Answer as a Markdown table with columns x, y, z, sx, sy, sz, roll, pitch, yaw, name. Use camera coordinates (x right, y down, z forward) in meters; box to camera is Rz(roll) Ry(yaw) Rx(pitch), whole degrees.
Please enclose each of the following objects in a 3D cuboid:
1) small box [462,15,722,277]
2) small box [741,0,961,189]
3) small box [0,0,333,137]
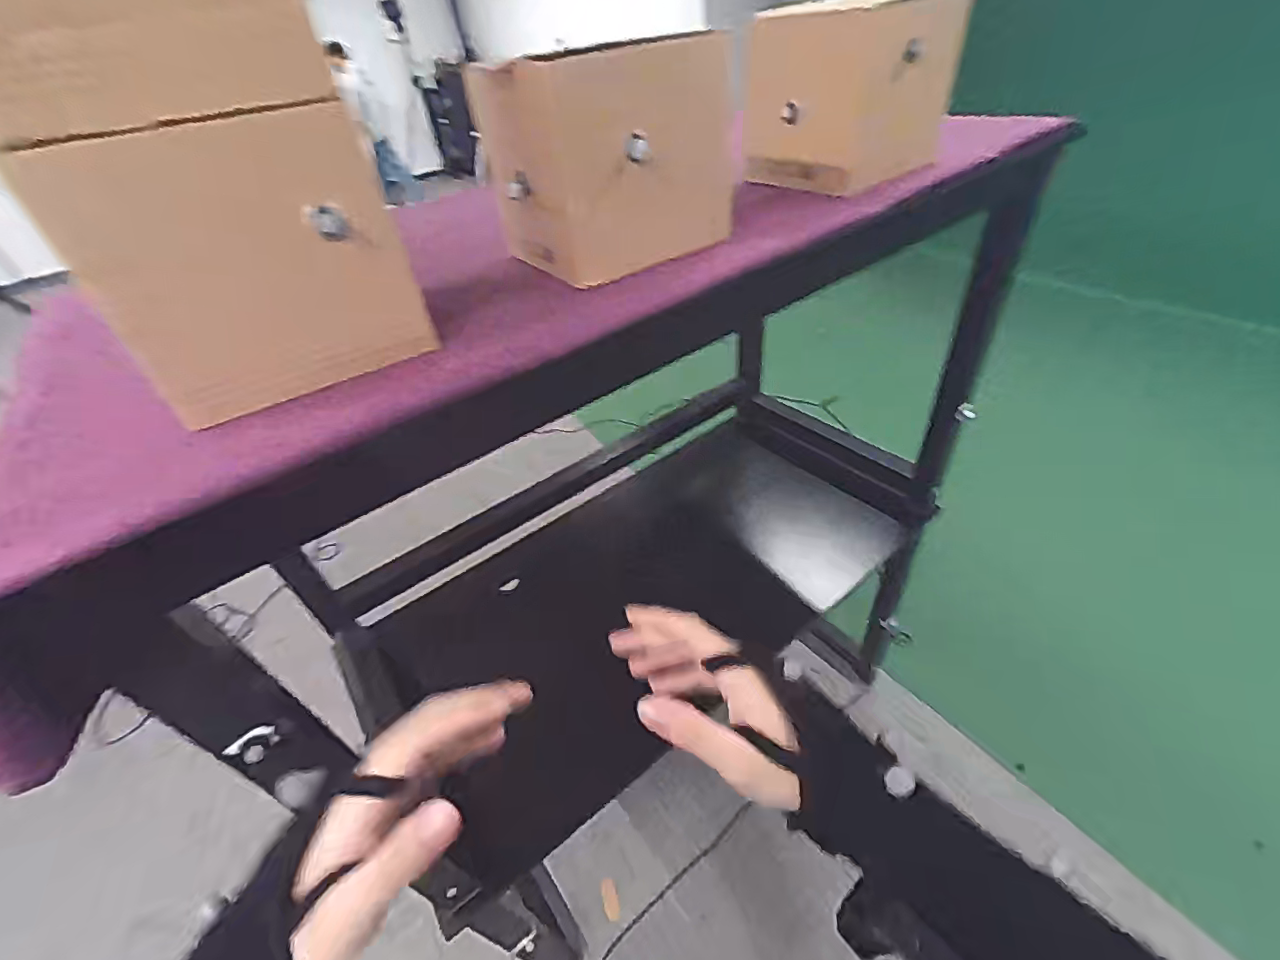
| x | y | z | sx | sy | sz | roll | pitch | yaw | name |
| --- | --- | --- | --- | --- | --- | --- | --- | --- | --- |
| -0.036 | -0.310 | 0.513 | 0.179 | 0.176 | 0.168 | -28 | 43 | -21 | small box |
| 0.239 | -0.460 | 0.636 | 0.179 | 0.176 | 0.168 | -31 | 46 | -23 | small box |
| -0.306 | -0.302 | 0.299 | 0.179 | 0.176 | 0.168 | -26 | 42 | -21 | small box |
